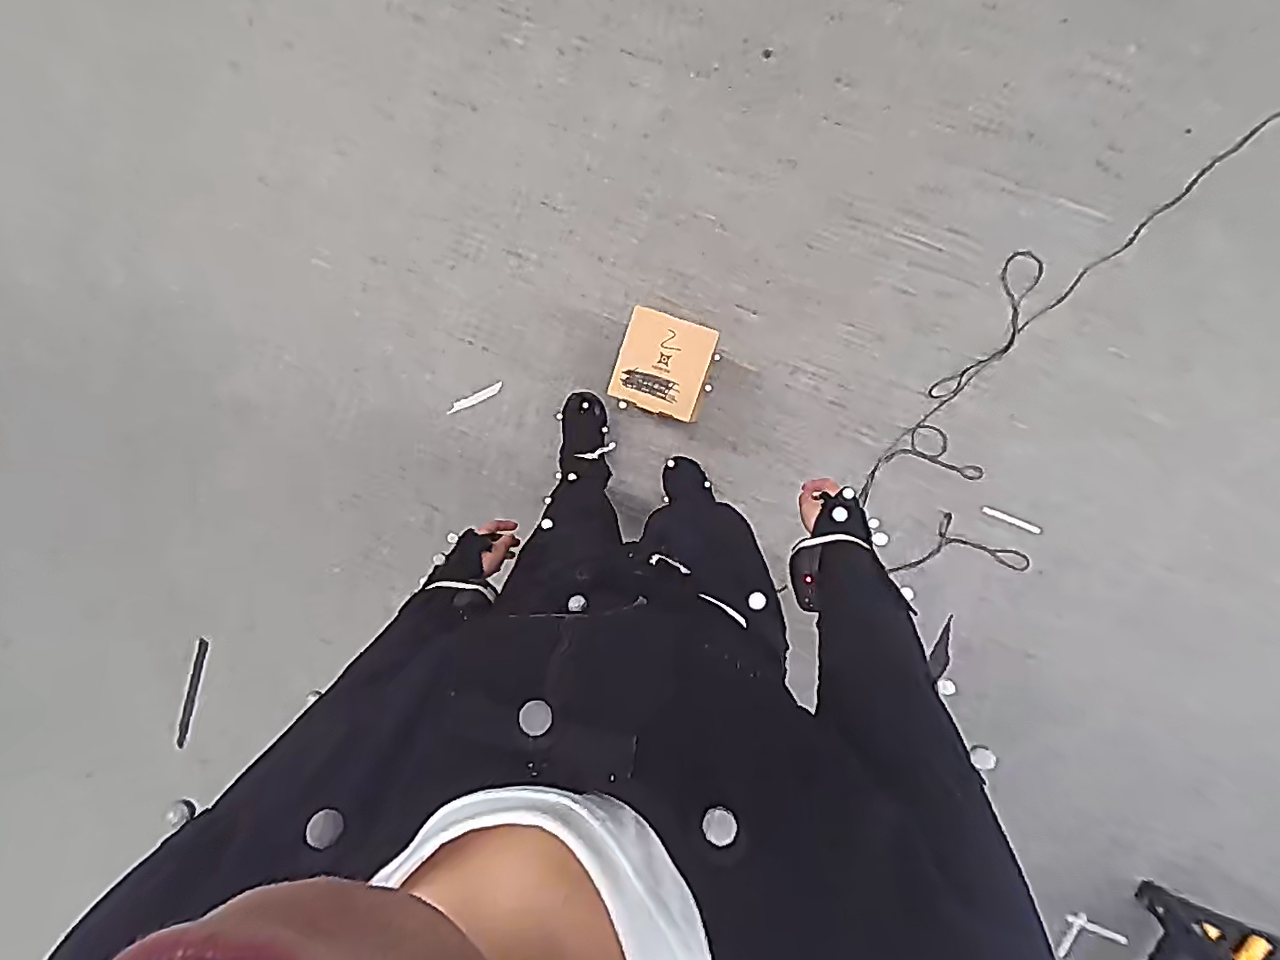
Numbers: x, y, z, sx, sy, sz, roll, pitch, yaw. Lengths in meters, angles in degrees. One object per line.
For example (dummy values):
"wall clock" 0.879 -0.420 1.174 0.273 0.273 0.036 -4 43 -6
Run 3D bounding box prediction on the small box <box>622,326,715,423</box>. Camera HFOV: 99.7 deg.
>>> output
"small box" 0.067 -0.234 1.232 0.168 0.176 0.179 15 99 5
